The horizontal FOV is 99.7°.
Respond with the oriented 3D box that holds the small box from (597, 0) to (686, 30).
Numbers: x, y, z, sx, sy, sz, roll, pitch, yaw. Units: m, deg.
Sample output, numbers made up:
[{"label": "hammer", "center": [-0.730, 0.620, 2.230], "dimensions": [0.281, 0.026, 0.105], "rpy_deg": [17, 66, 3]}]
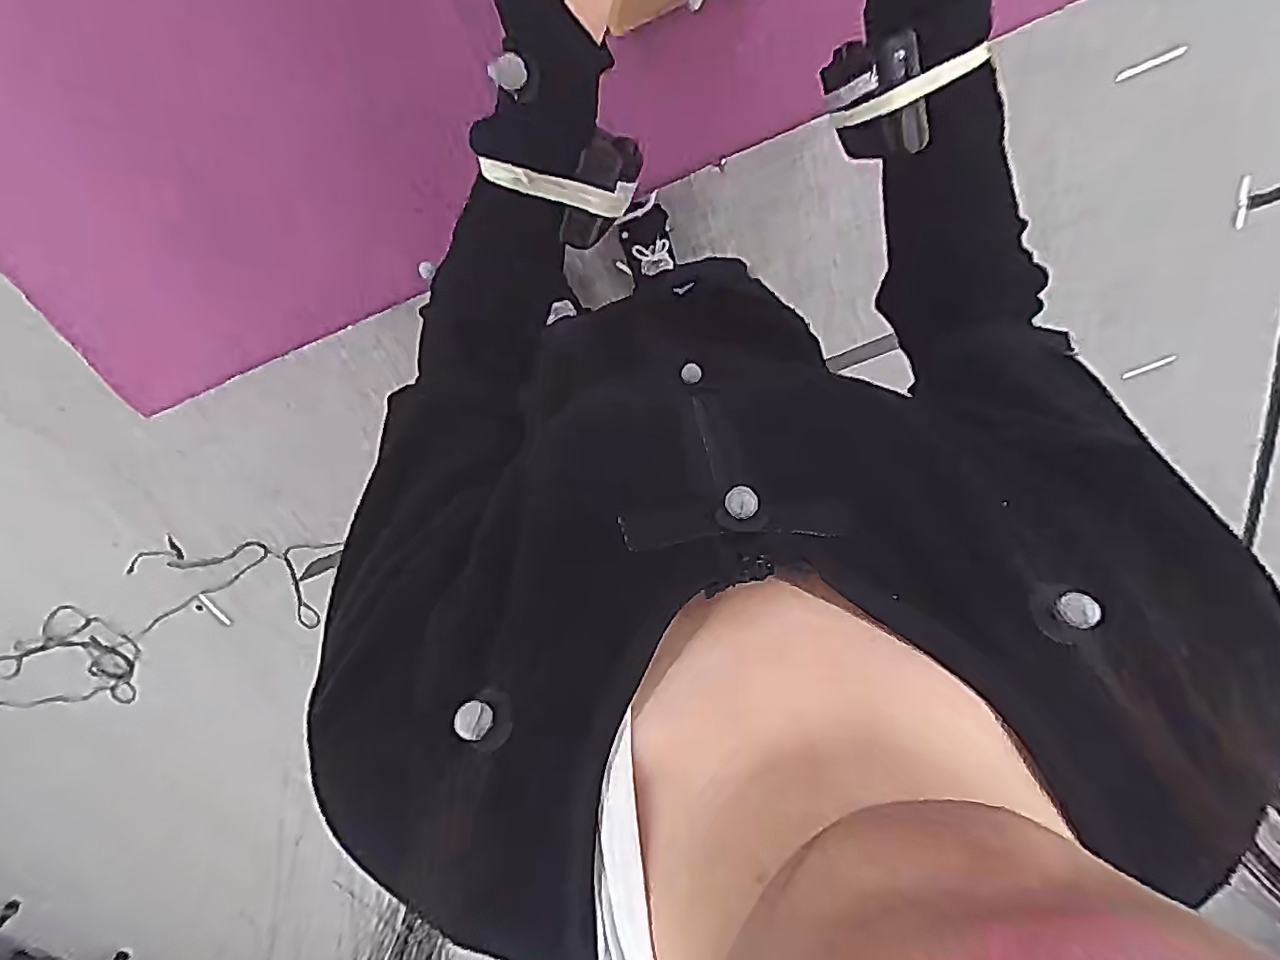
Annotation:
[{"label": "small box", "center": [0.019, -0.517, 0.434], "dimensions": [0.168, 0.176, 0.179], "rpy_deg": [-22, 117, 5]}]
